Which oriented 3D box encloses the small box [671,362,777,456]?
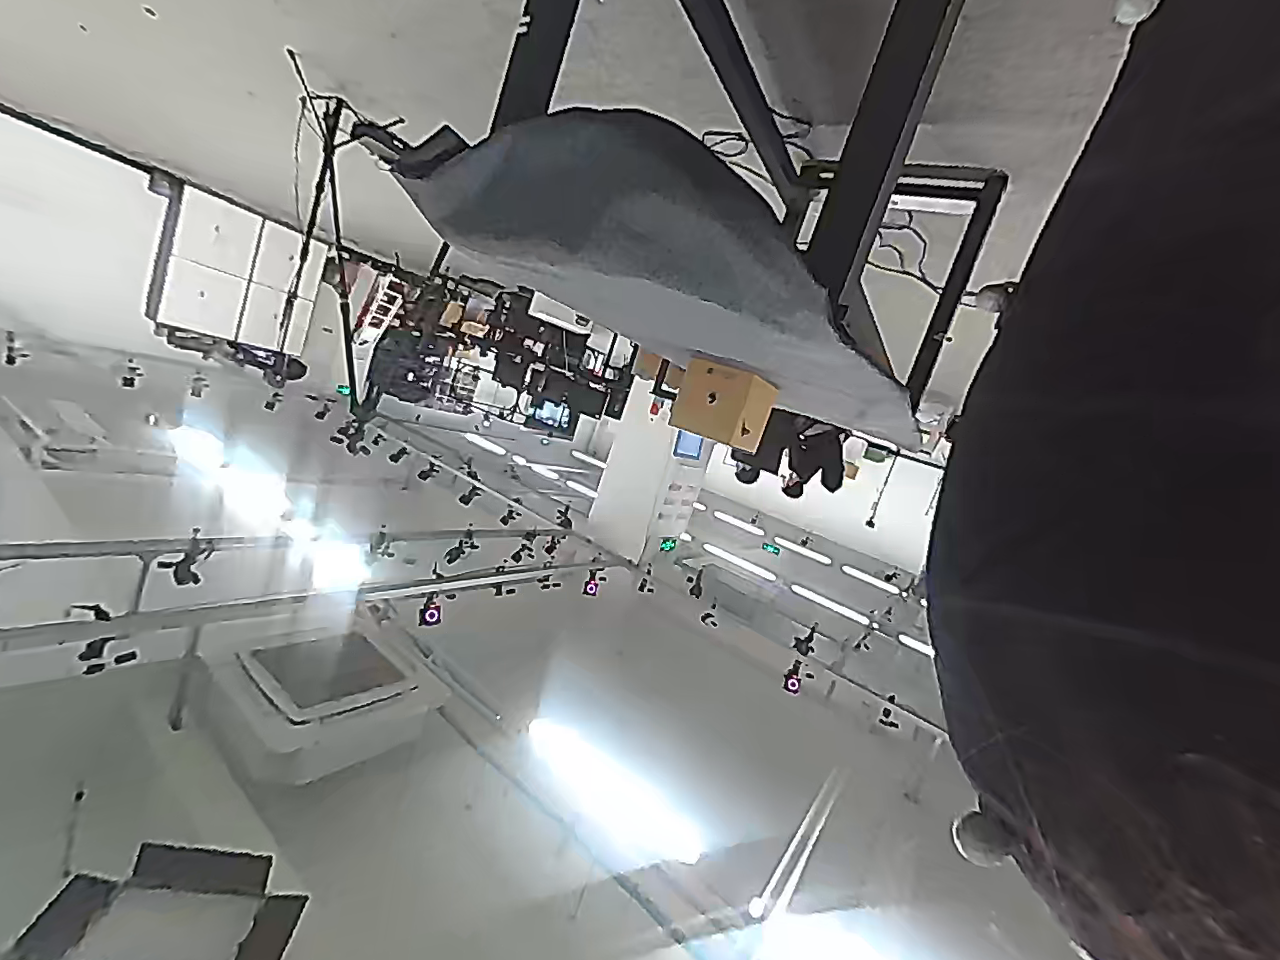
[{"bbox_3d":[0.201,-0.168,1.274,0.168,0.176,0.179,23,-171,31],"label":"small box"}]
